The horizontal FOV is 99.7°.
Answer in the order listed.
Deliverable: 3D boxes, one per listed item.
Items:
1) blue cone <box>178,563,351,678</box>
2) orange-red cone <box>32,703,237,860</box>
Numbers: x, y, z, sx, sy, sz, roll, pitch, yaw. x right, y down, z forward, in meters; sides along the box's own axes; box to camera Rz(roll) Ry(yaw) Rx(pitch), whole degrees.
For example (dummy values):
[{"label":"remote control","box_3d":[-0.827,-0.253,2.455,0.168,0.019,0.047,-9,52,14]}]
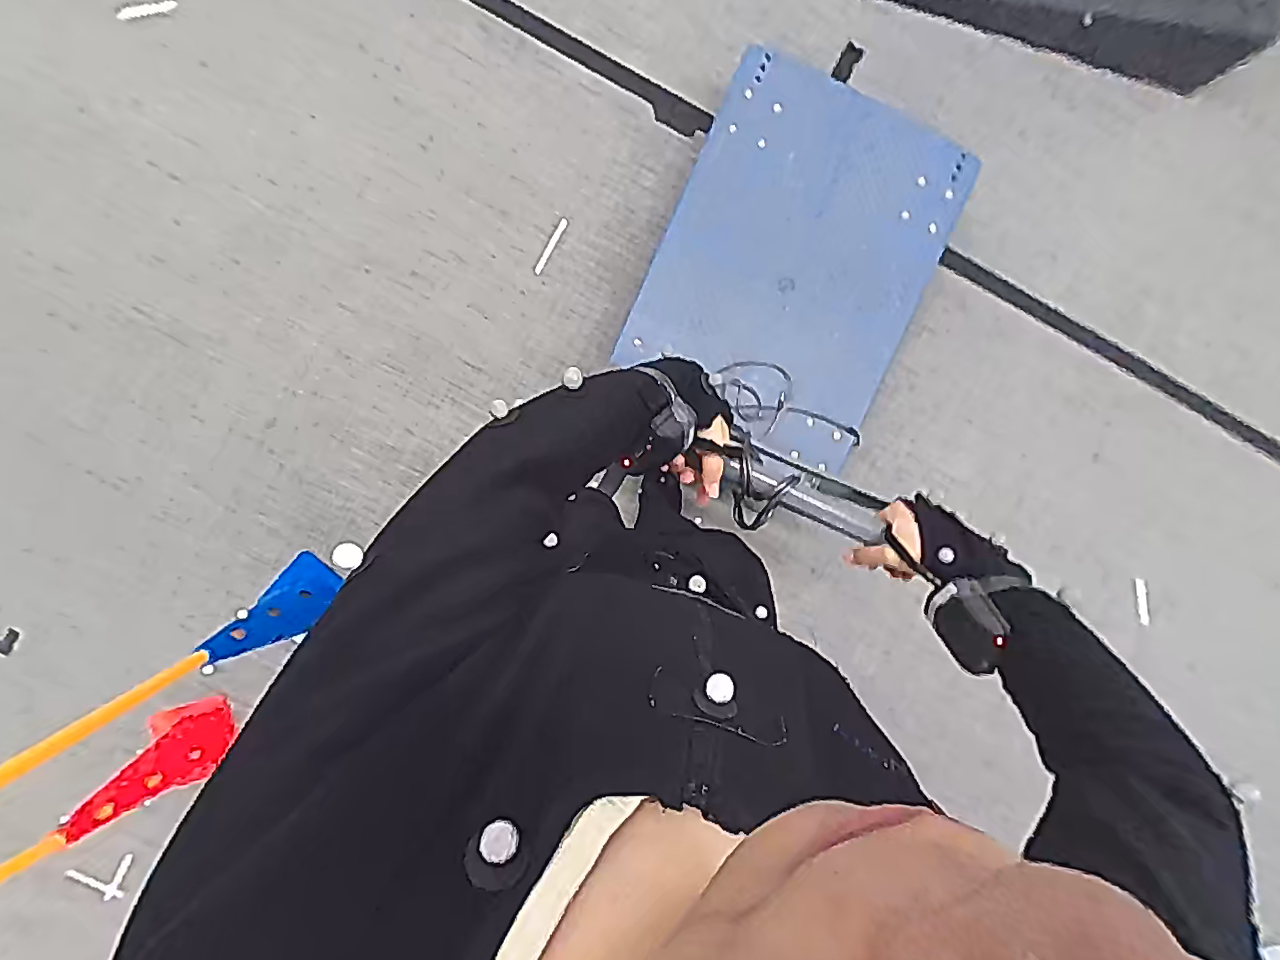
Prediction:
[{"label":"blue cone","box_3d":[-0.831,0.329,1.178,0.193,0.380,0.192,44,91,-4]},{"label":"orange-red cone","box_3d":[-1.111,0.673,1.171,0.199,0.360,0.198,-16,94,-3]}]
